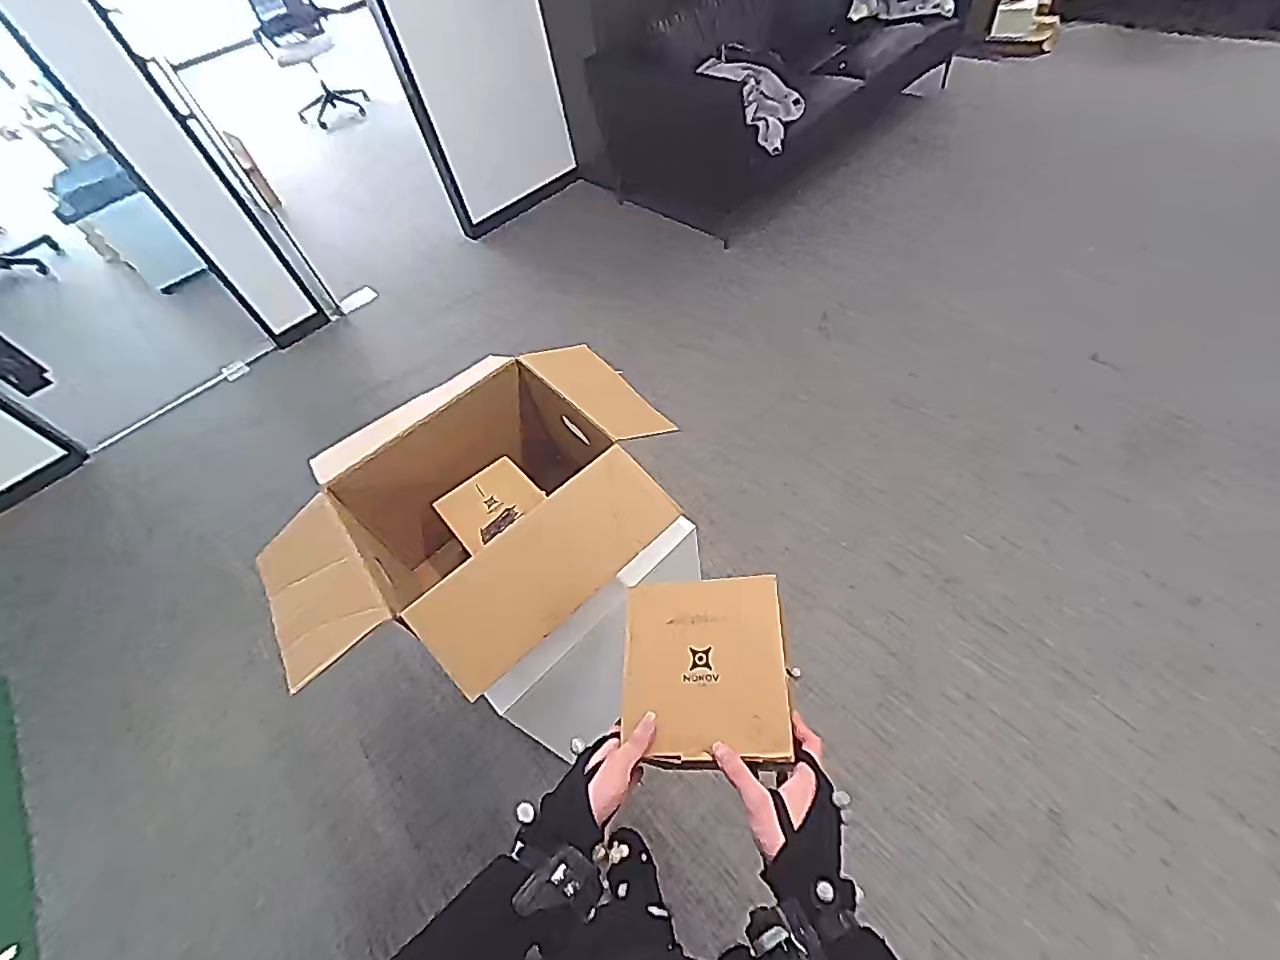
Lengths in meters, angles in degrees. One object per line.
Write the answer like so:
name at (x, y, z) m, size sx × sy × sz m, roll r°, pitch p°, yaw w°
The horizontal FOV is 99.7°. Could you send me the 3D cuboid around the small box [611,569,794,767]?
small box at (0.075, 0.215, 0.599) m, size 0.168 × 0.176 × 0.179 m, roll -7°, pitch 57°, yaw 14°
